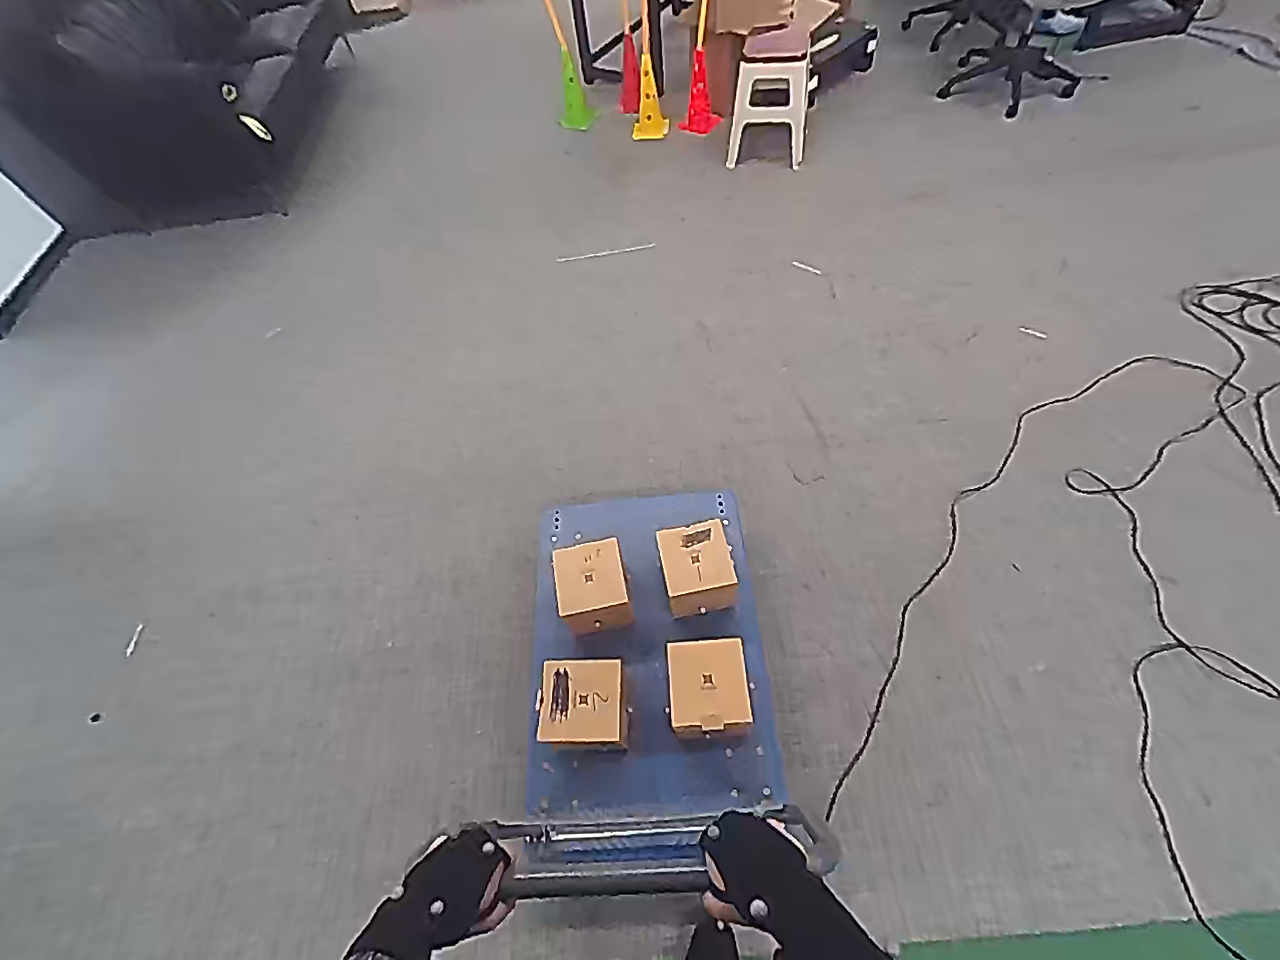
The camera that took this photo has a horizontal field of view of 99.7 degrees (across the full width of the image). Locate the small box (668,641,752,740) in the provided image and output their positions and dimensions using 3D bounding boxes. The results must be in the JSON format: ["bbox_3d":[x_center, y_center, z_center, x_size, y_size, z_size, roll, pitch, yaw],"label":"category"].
[{"bbox_3d":[0.151,0.476,1.214,0.168,0.176,0.179,-5,58,3],"label":"small box"}]

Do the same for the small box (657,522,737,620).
[{"bbox_3d":[0.140,0.233,1.366,0.168,0.176,0.179,-12,58,0],"label":"small box"}]

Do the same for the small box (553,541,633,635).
[{"bbox_3d":[-0.116,0.280,1.367,0.168,0.176,0.179,-12,57,-1],"label":"small box"}]
